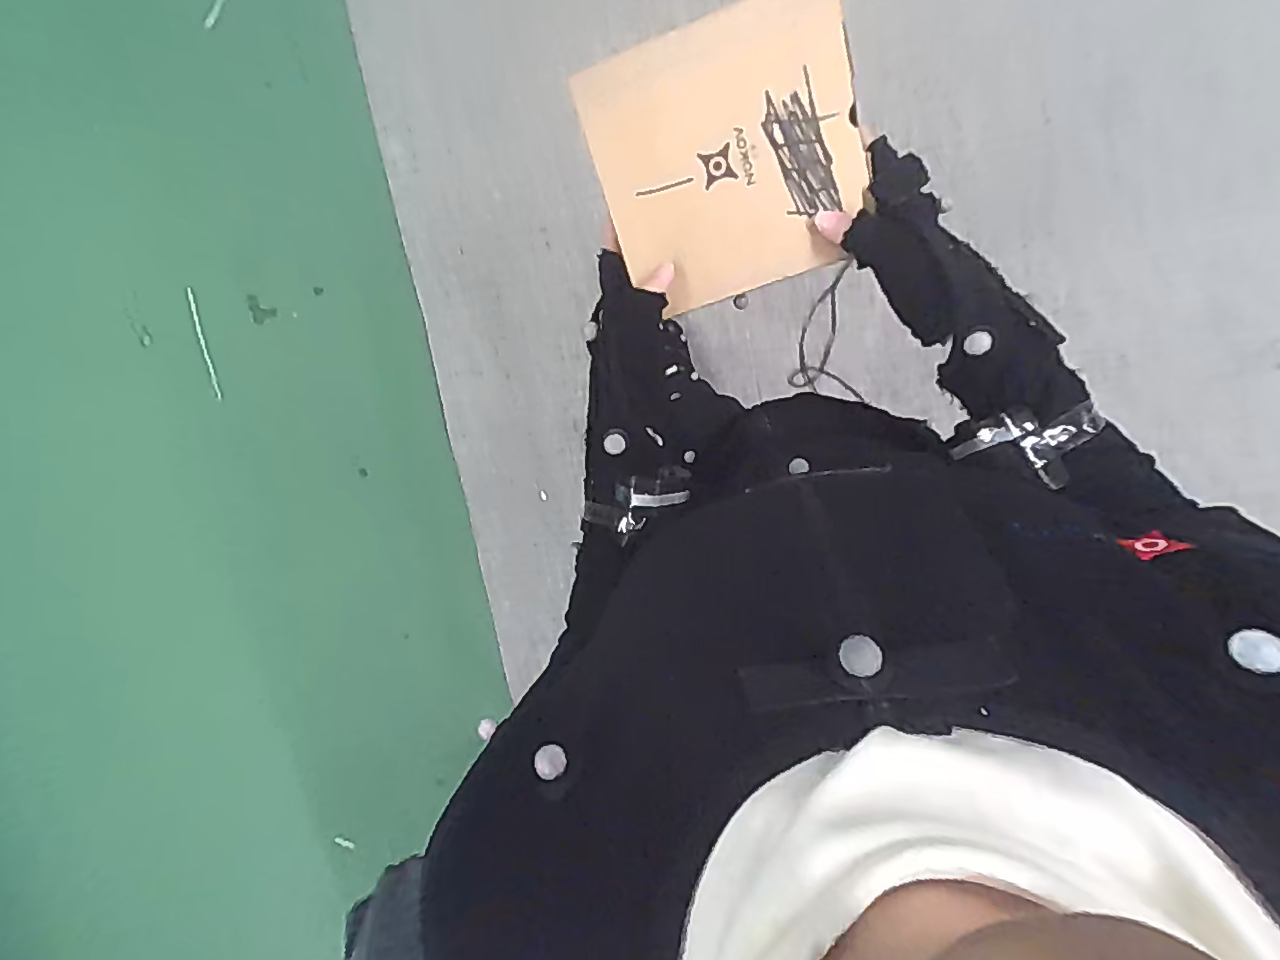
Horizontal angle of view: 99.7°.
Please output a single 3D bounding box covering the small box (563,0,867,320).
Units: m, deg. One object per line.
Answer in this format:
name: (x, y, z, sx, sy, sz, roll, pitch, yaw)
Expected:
small box: (0.058, -0.241, 0.440, 0.179, 0.176, 0.168, -16, 108, 10)
